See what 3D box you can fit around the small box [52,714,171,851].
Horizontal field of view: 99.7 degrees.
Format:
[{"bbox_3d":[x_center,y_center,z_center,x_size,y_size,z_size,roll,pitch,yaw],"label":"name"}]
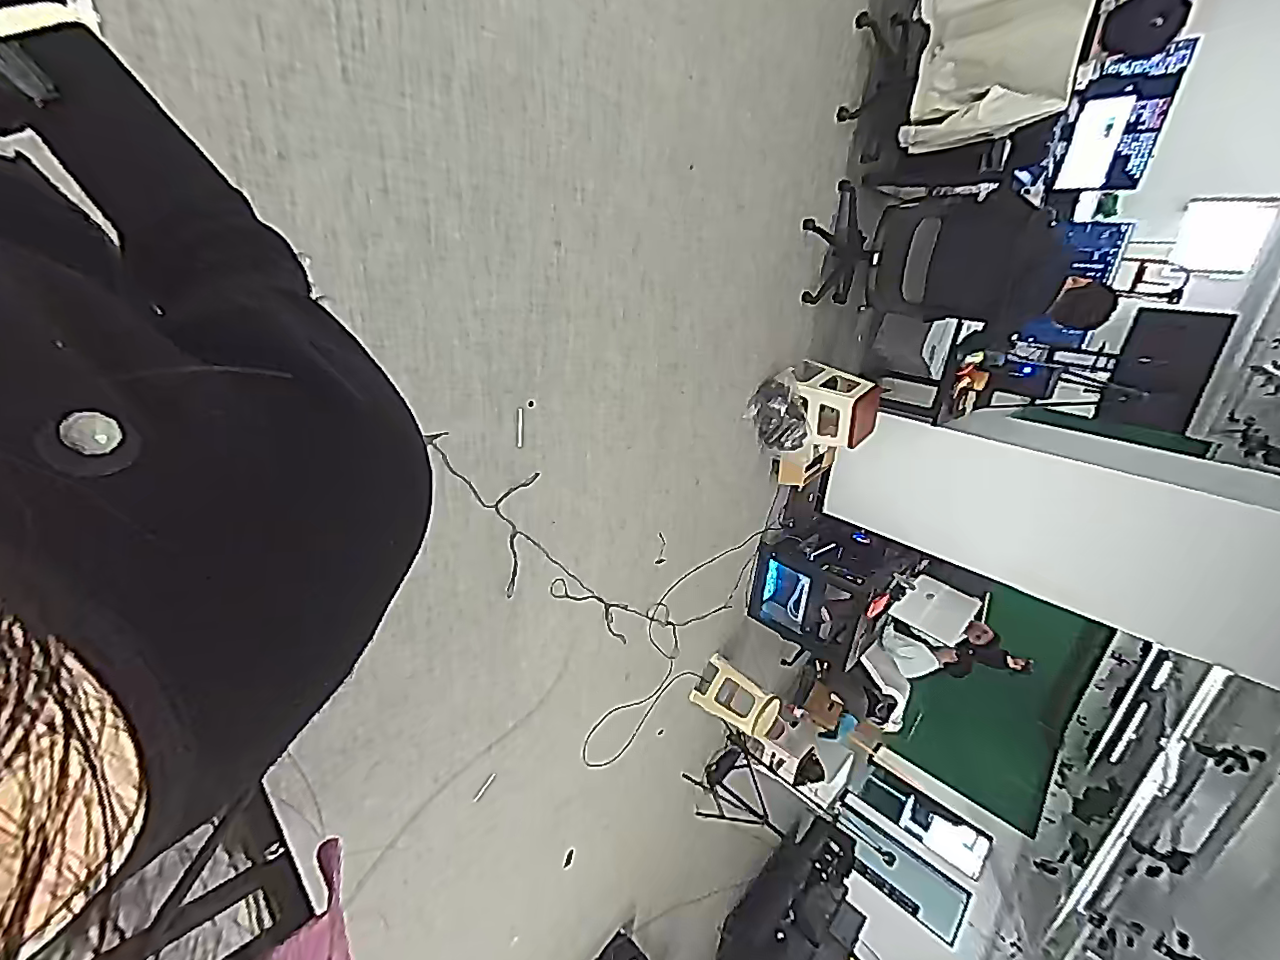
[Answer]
[{"bbox_3d":[-1.209,0.682,1.240,0.168,0.176,0.179,-16,121,-44],"label":"small box"}]
